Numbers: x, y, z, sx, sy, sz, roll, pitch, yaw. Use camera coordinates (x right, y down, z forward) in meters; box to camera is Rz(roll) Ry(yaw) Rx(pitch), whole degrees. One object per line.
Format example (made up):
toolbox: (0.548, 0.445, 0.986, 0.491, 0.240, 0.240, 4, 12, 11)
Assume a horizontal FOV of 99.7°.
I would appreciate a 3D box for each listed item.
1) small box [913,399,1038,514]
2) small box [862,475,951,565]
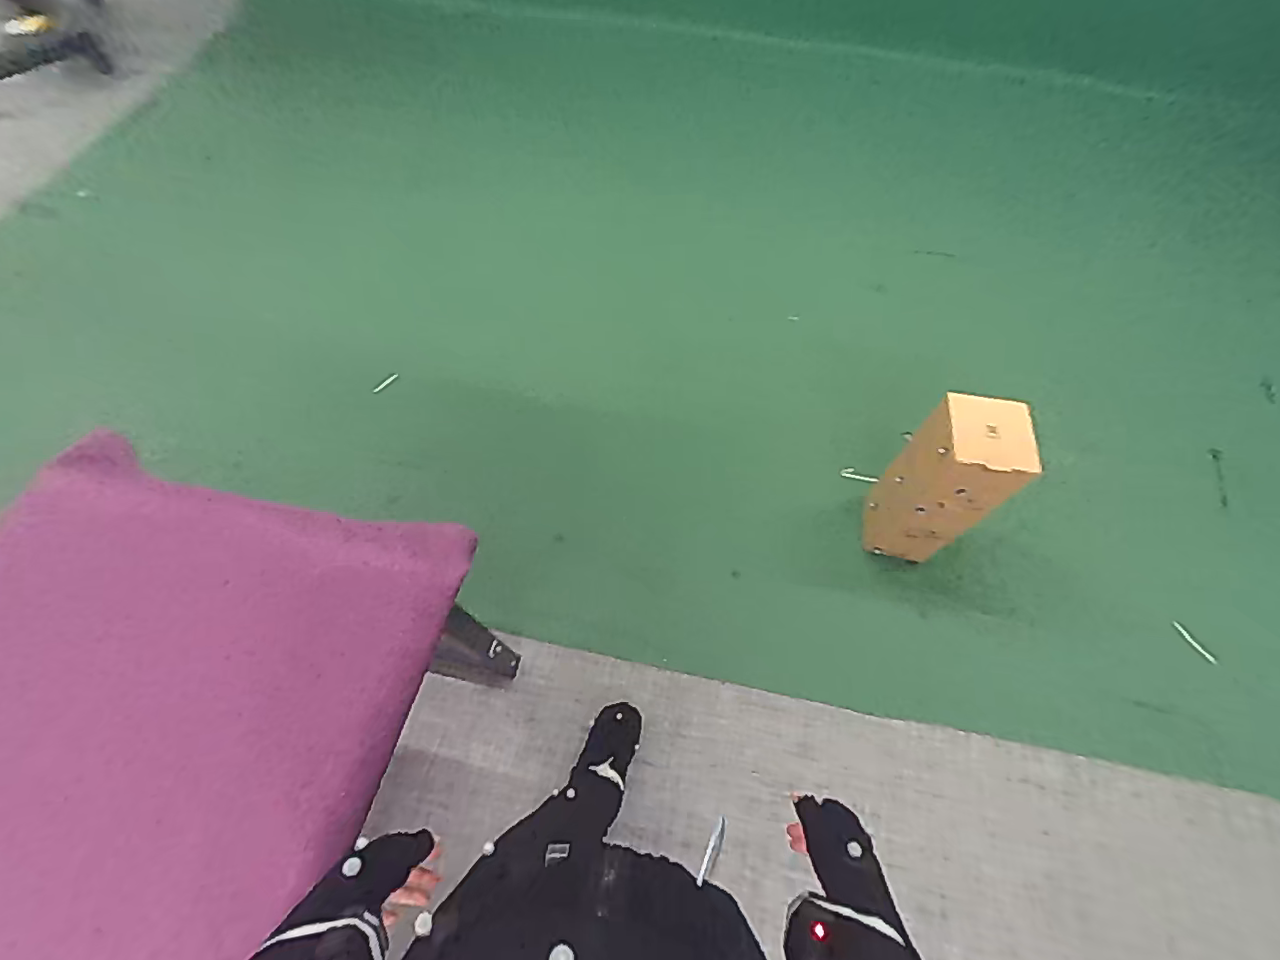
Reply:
small box: (0.717, -0.049, 1.180, 0.168, 0.176, 0.179, 9, 62, 4)
small box: (0.716, 0.114, 1.465, 0.168, 0.176, 0.179, 12, 62, 5)
